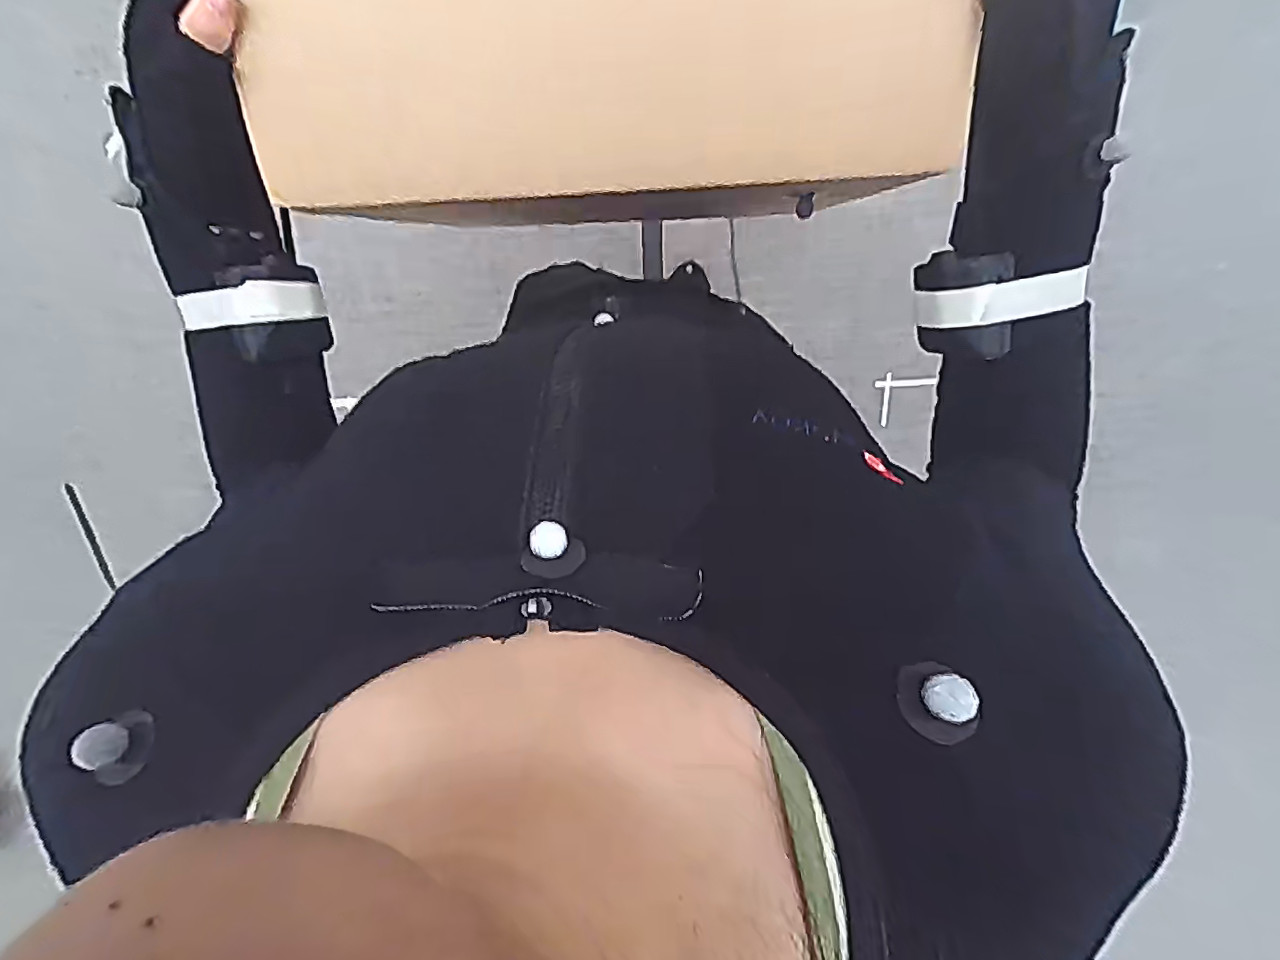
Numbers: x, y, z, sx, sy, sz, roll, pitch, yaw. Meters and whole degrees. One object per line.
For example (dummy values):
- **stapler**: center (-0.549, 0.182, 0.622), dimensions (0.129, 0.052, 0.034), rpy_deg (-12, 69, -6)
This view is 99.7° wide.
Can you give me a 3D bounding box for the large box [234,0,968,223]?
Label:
- **large box**: center (-0.020, -0.377, 0.405), dimensions (0.408, 0.320, 0.320), rpy_deg (-1, 112, 3)
